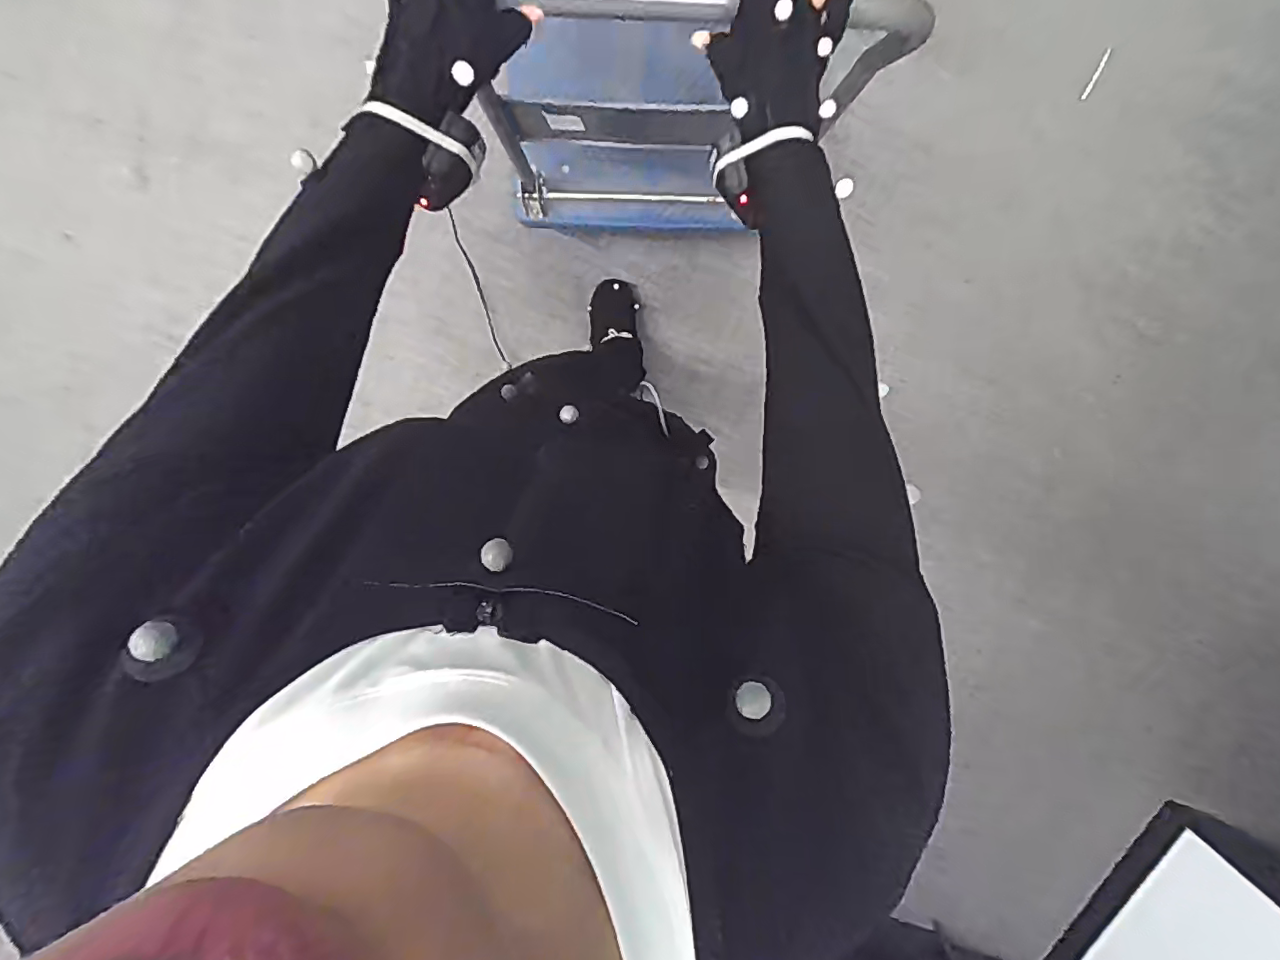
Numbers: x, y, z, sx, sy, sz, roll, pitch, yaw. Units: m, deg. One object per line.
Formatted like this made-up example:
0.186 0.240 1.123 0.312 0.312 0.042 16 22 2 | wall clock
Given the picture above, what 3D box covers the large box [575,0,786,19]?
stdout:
0.074 -1.014 0.877 0.408 0.320 0.320 -1 104 1 | large box
